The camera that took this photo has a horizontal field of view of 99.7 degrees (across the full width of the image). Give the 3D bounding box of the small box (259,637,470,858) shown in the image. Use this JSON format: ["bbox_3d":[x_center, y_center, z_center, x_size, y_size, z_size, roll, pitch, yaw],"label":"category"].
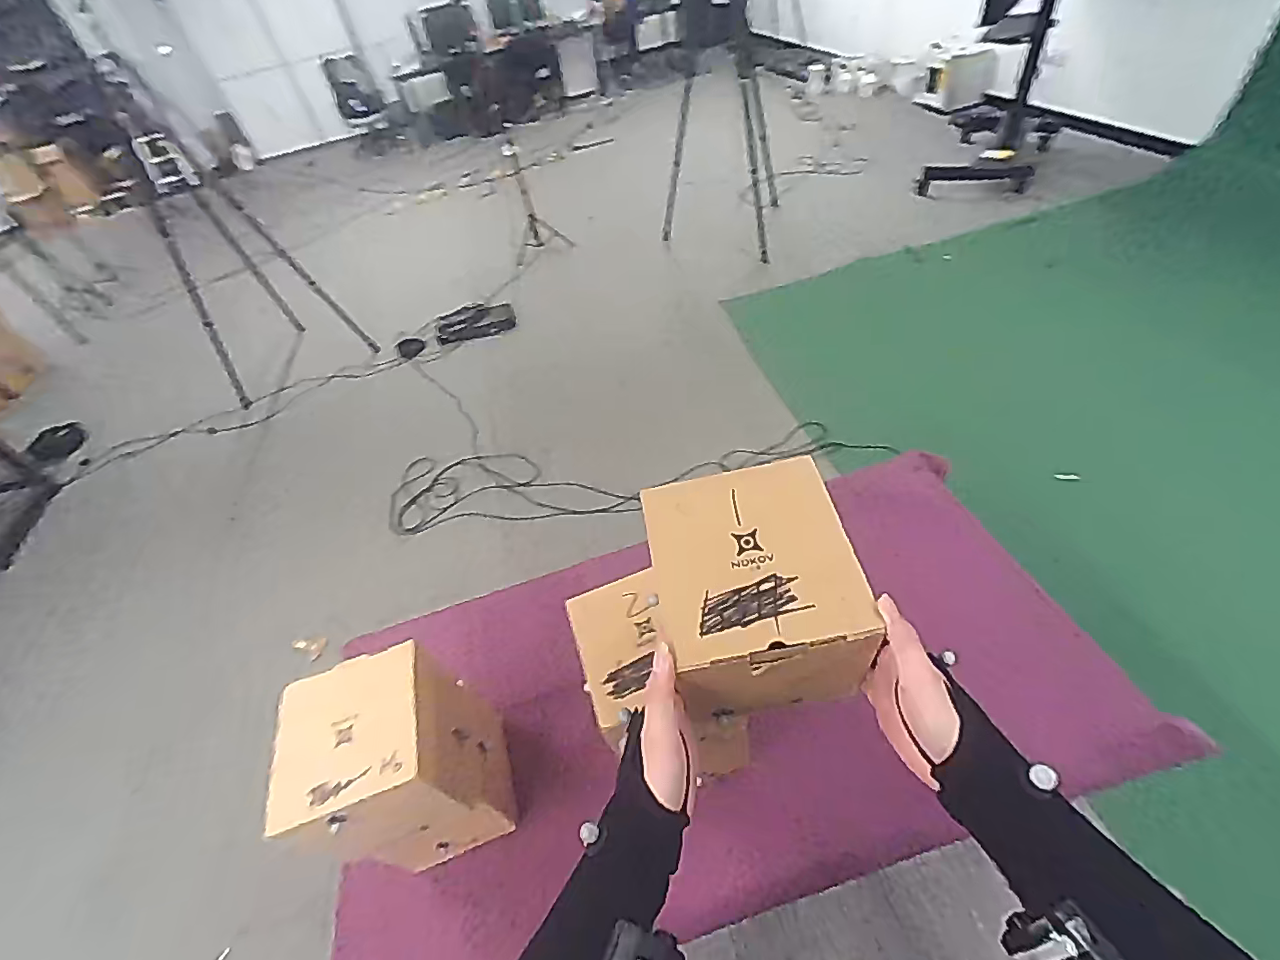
[{"bbox_3d":[-0.329,0.336,0.681,0.168,0.176,0.179,-20,46,-5],"label":"small box"}]

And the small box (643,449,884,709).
[{"bbox_3d":[0.105,0.102,0.511,0.168,0.176,0.179,-11,51,3],"label":"small box"}]

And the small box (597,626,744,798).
[{"bbox_3d":[0.047,0.341,0.814,0.168,0.176,0.179,-20,46,-4],"label":"small box"}]

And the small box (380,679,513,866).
[{"bbox_3d":[-0.305,0.438,0.809,0.168,0.176,0.179,-21,47,-7],"label":"small box"}]
